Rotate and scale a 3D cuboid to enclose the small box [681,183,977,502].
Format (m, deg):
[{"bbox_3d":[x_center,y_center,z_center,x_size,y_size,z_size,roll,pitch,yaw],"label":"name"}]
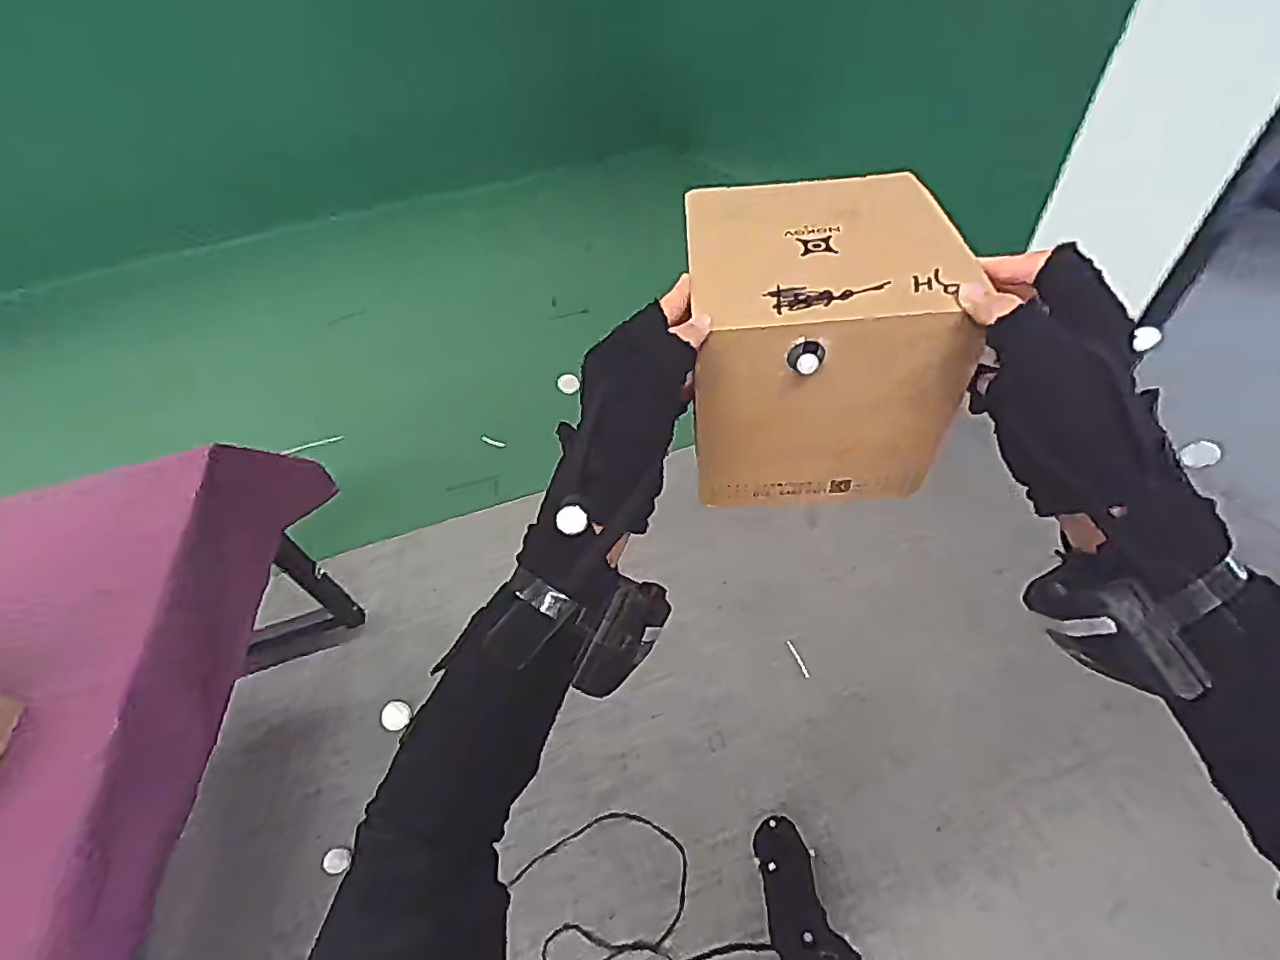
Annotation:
[{"bbox_3d":[0.117,-0.102,0.420,0.168,0.176,0.179,-3,49,6],"label":"small box"}]
